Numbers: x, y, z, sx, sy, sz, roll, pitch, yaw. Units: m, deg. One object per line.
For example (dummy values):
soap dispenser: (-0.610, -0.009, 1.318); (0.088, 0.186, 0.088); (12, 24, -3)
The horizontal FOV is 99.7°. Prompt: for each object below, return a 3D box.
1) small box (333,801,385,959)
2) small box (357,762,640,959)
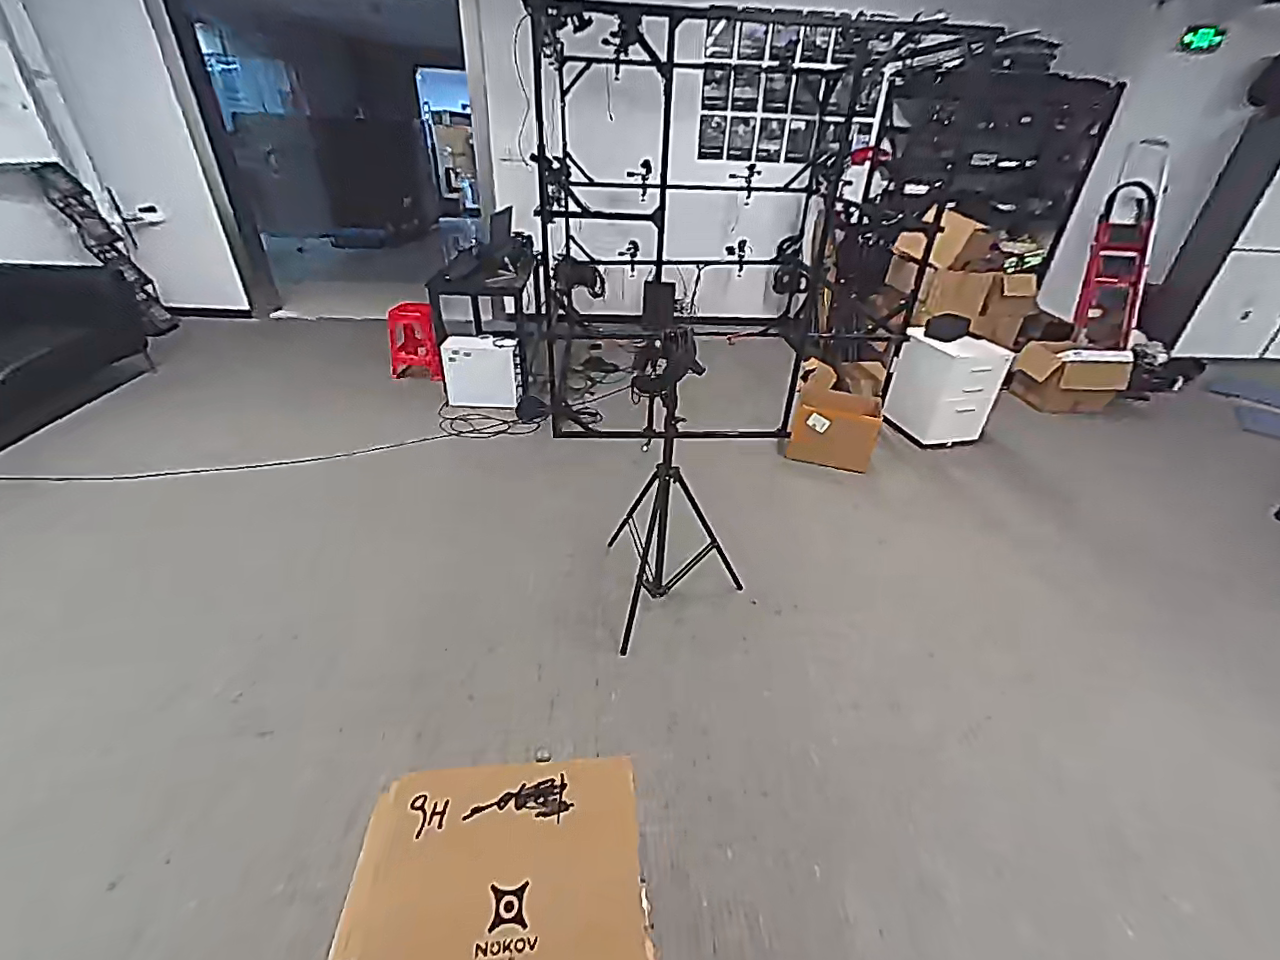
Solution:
small box: (-0.247, 0.525, 0.681); (0.168, 0.176, 0.179); (-2, 35, -3)
small box: (-0.086, 0.316, 0.383); (0.168, 0.176, 0.179); (-2, 52, -6)
